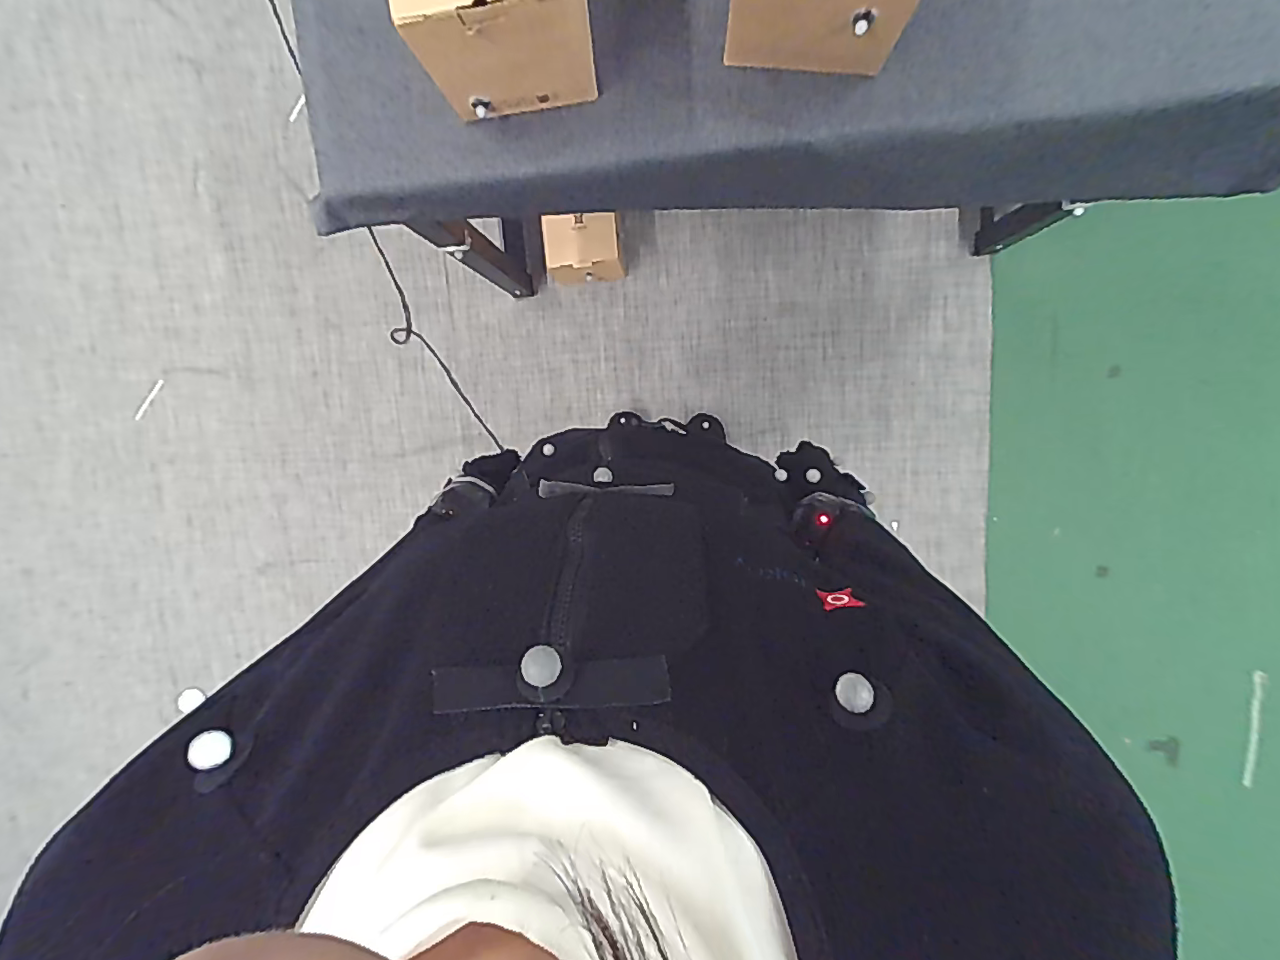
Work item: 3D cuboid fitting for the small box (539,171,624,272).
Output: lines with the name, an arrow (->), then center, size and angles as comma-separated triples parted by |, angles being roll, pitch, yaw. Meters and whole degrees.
small box -> -0.132, -0.600, 1.279 | 0.168, 0.176, 0.179 | -3, 98, 4

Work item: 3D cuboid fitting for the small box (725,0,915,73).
small box -> 0.186, -0.539, 0.530 | 0.179, 0.176, 0.168 | 7, 97, 4

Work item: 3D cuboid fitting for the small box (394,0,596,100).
small box -> -0.143, -0.523, 0.550 | 0.168, 0.176, 0.179 | -5, 96, 4
